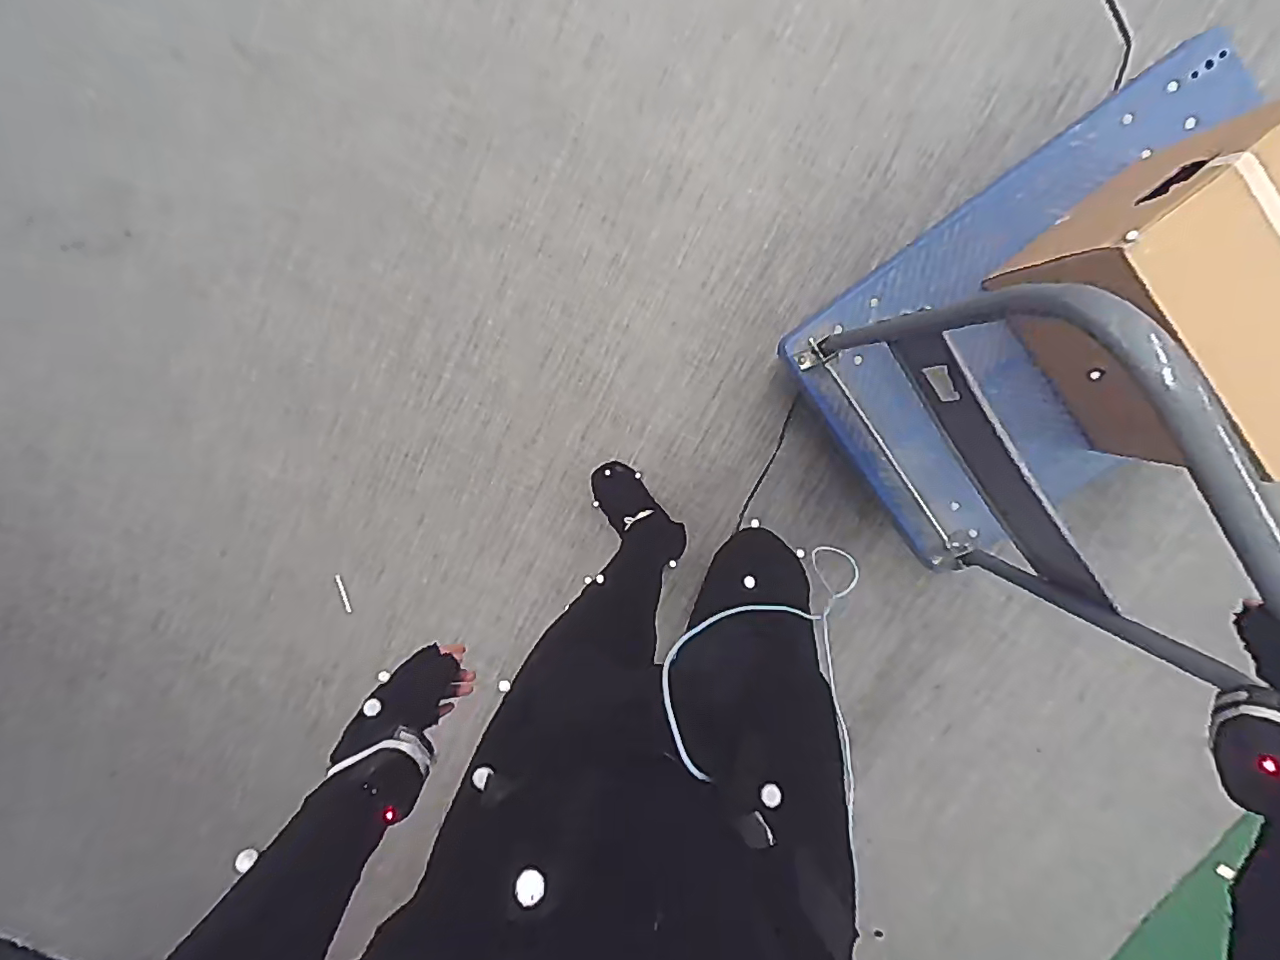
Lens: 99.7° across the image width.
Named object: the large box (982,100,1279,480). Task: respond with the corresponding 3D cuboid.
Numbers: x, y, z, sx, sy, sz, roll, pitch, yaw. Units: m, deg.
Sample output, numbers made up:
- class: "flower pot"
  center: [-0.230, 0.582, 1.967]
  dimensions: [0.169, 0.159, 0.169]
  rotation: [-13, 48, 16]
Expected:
- class: "large box"
  center: [0.848, -0.267, 0.833]
  dimensions: [0.320, 0.320, 0.408]
  rotation: [-40, 97, 8]
